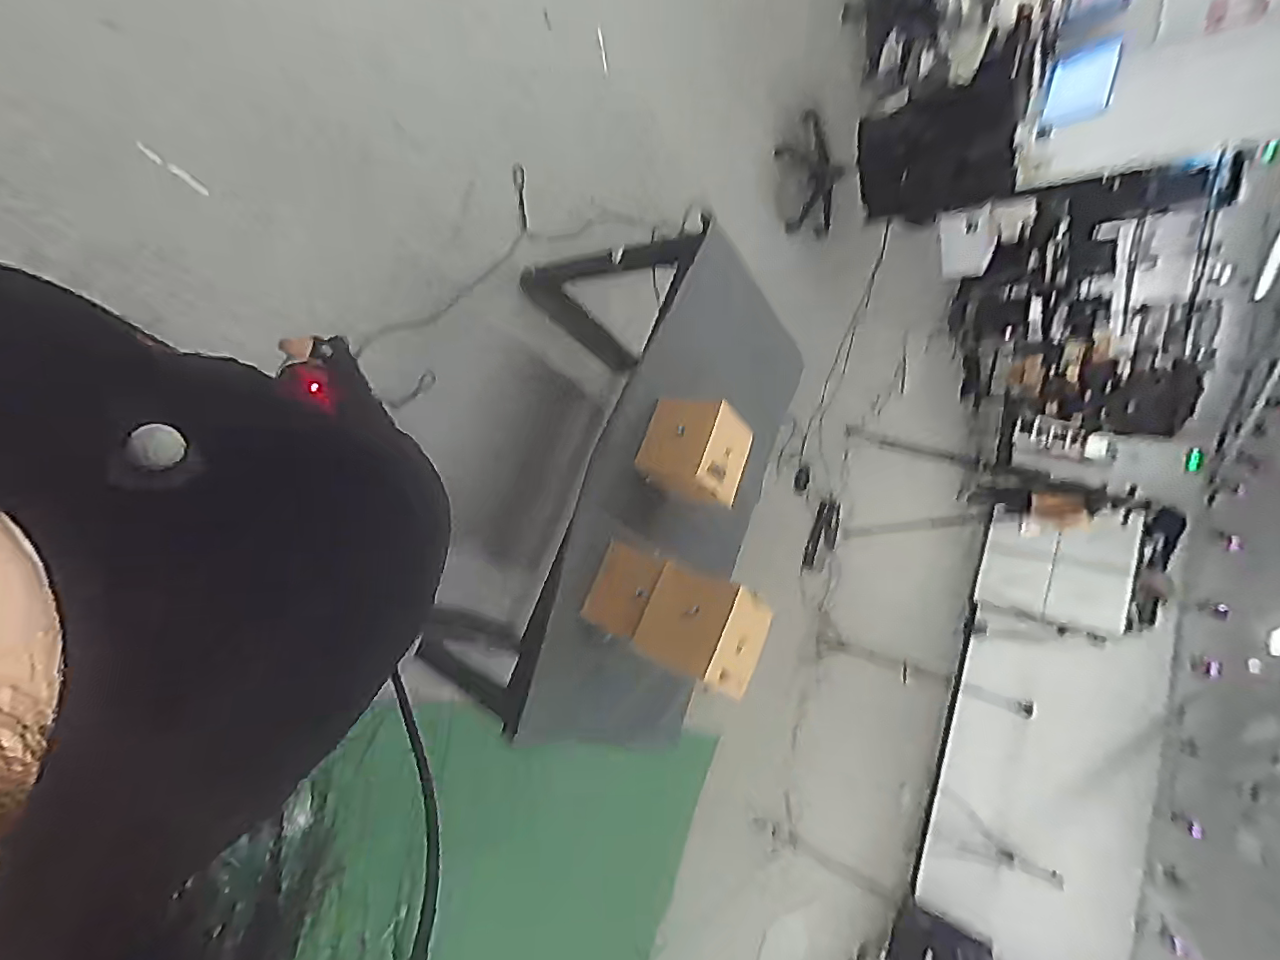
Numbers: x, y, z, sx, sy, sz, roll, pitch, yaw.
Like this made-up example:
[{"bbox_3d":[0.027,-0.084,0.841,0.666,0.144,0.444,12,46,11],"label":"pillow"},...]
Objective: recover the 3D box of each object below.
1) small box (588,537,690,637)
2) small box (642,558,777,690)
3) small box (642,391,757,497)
[{"bbox_3d":[0.020,0.236,1.132,0.168,0.176,0.179,38,70,-45],"label":"small box"},{"bbox_3d":[0.129,0.263,1.010,0.168,0.176,0.179,42,66,-45],"label":"small box"},{"bbox_3d":[0.128,-0.081,1.187,0.168,0.176,0.179,35,70,-48],"label":"small box"}]
